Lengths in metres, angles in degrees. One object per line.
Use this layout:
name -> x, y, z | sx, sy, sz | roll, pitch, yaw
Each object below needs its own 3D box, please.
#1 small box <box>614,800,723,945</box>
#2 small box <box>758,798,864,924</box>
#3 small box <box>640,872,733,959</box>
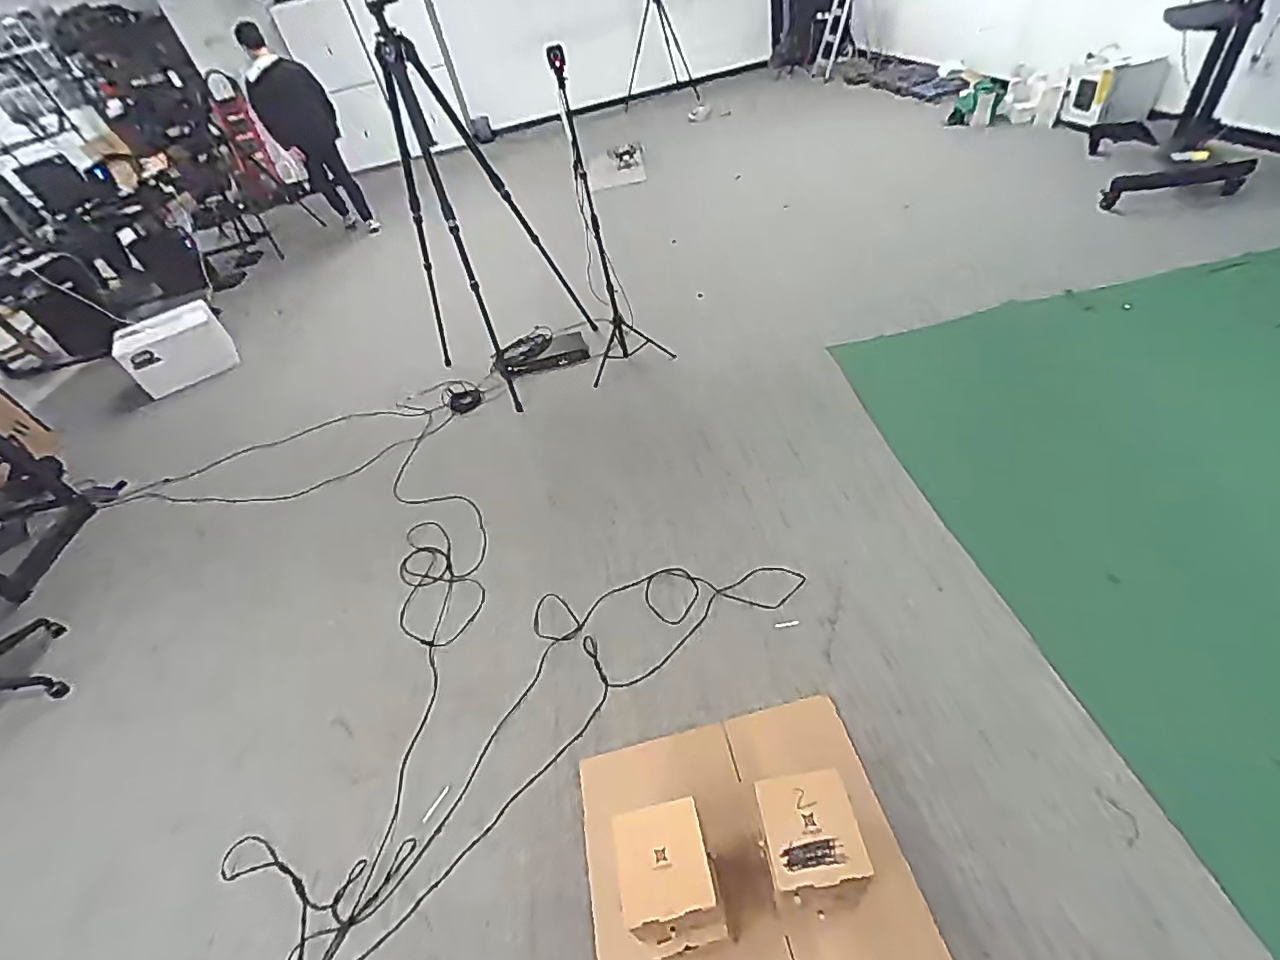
small box -> 0.055, 0.751, 1.034 | 0.168, 0.176, 0.179 | -15, 43, 0
small box -> 0.352, 0.804, 1.139 | 0.168, 0.176, 0.179 | -13, 44, 4
small box -> 0.086, 0.886, 1.123 | 0.168, 0.176, 0.179 | -17, 43, -2
